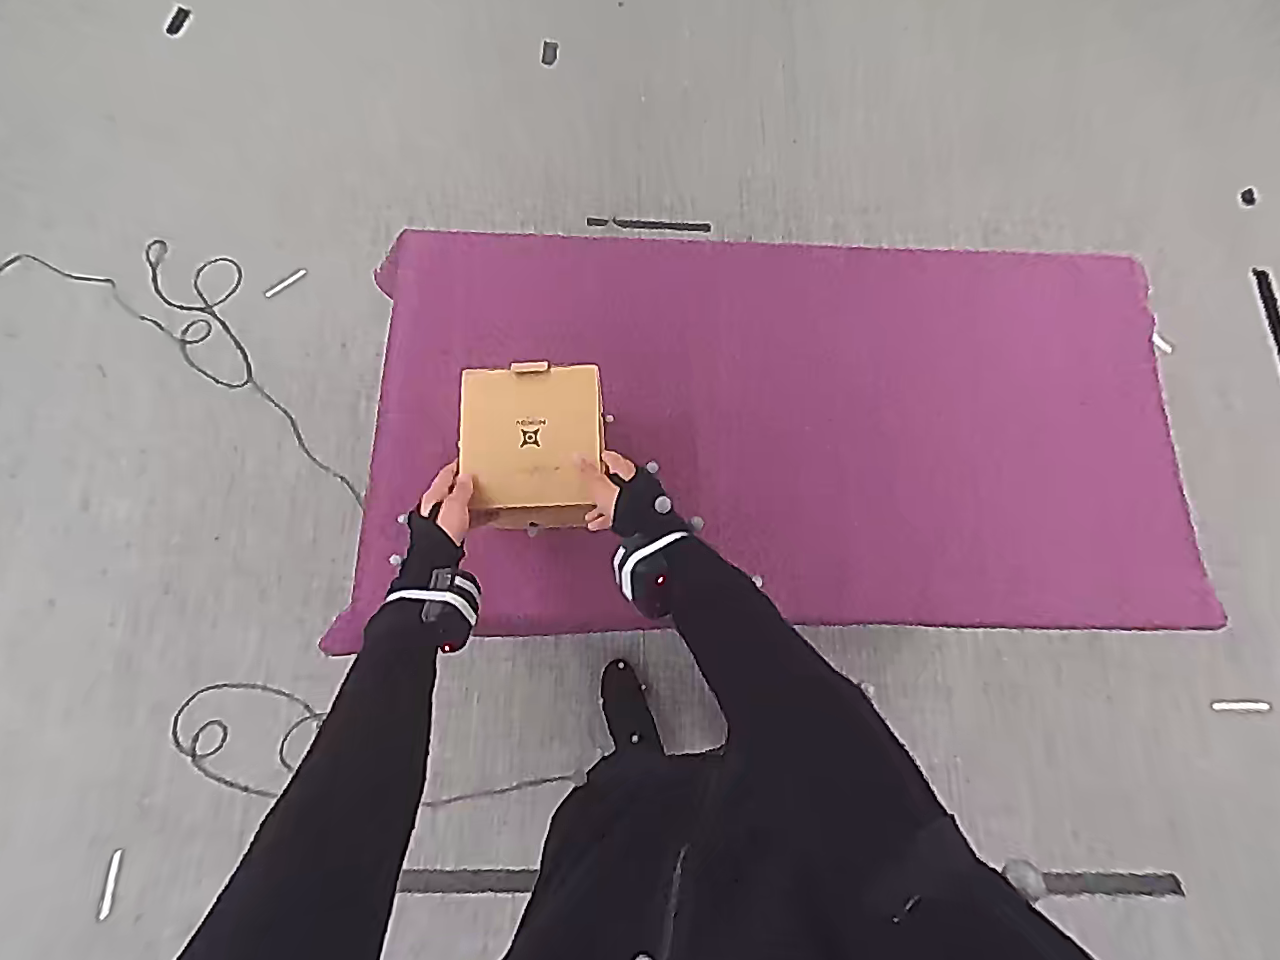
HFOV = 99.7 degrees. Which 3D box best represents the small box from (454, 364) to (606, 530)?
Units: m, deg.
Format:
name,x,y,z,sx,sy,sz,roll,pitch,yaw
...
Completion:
name,x,y,z,sx,sy,sz,roll,pitch,yaw
small box,-0.131,-0.035,0.706,0.168,0.176,0.179,-2,77,-2
